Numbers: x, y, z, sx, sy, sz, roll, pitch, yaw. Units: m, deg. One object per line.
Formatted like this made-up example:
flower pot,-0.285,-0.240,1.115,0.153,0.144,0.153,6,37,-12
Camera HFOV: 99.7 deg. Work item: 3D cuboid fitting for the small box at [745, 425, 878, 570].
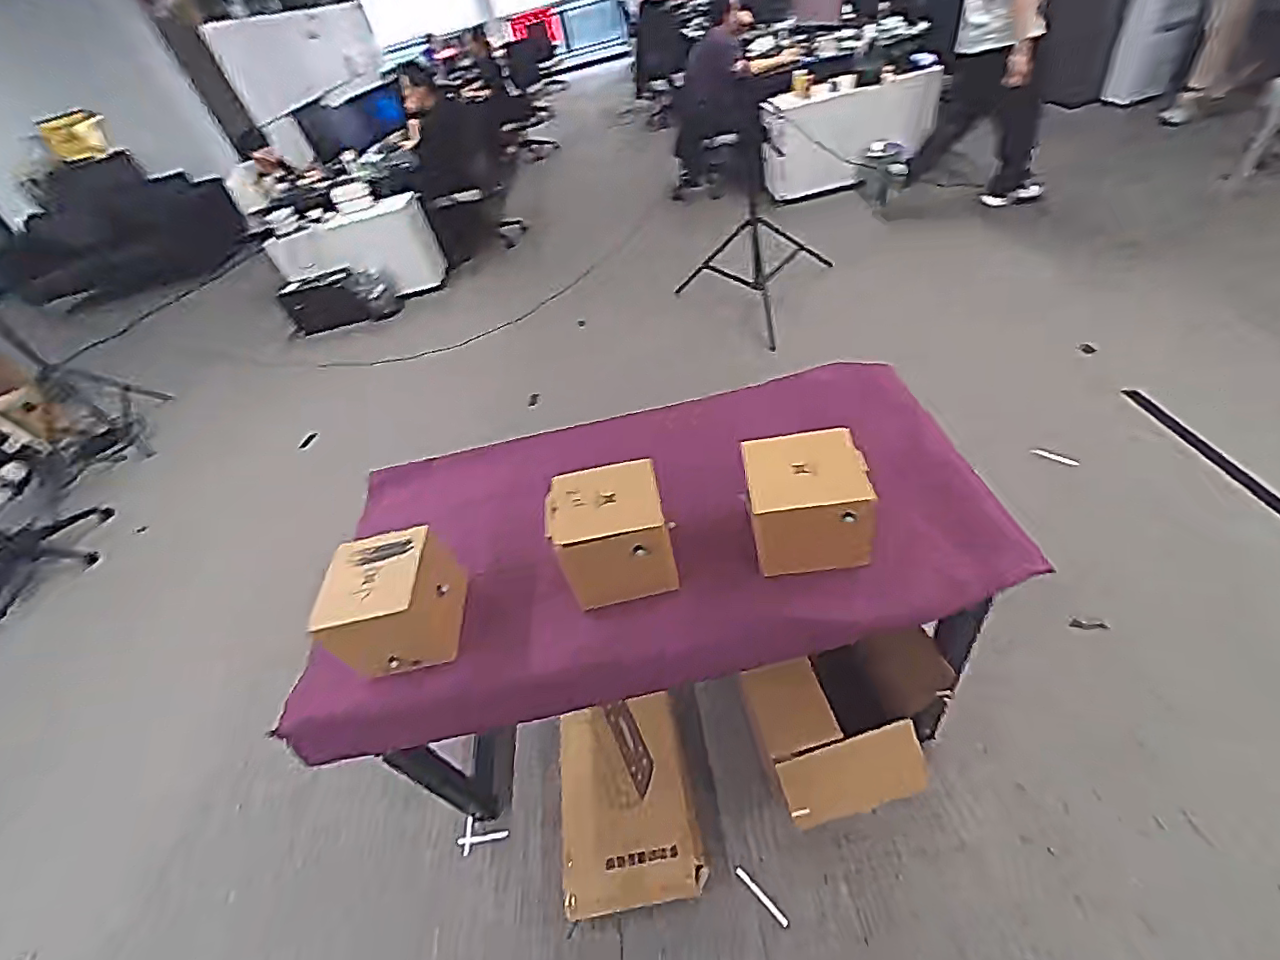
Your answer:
small box,0.277,0.035,0.898,0.179,0.176,0.168,-8,44,8

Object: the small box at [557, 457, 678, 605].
small box,-0.034,0.090,0.932,0.179,0.176,0.168,-13,41,3
